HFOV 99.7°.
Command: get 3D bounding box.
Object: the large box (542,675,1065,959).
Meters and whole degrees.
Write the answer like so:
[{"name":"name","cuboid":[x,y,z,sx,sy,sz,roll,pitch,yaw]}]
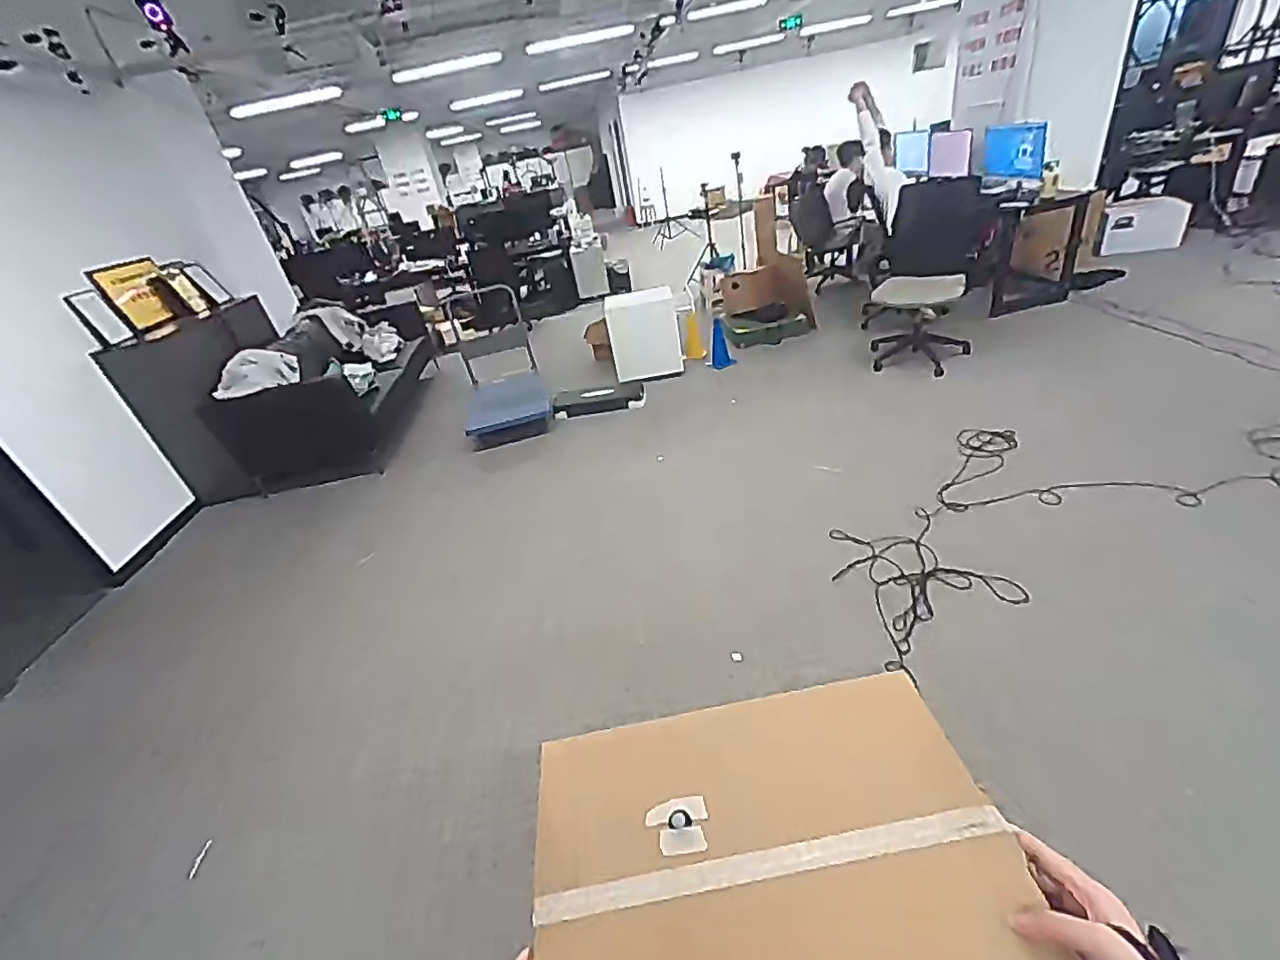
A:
[{"name":"large box","cuboid":[0.139,0.463,0.558,0.408,0.320,0.320,-14,33,2]}]
